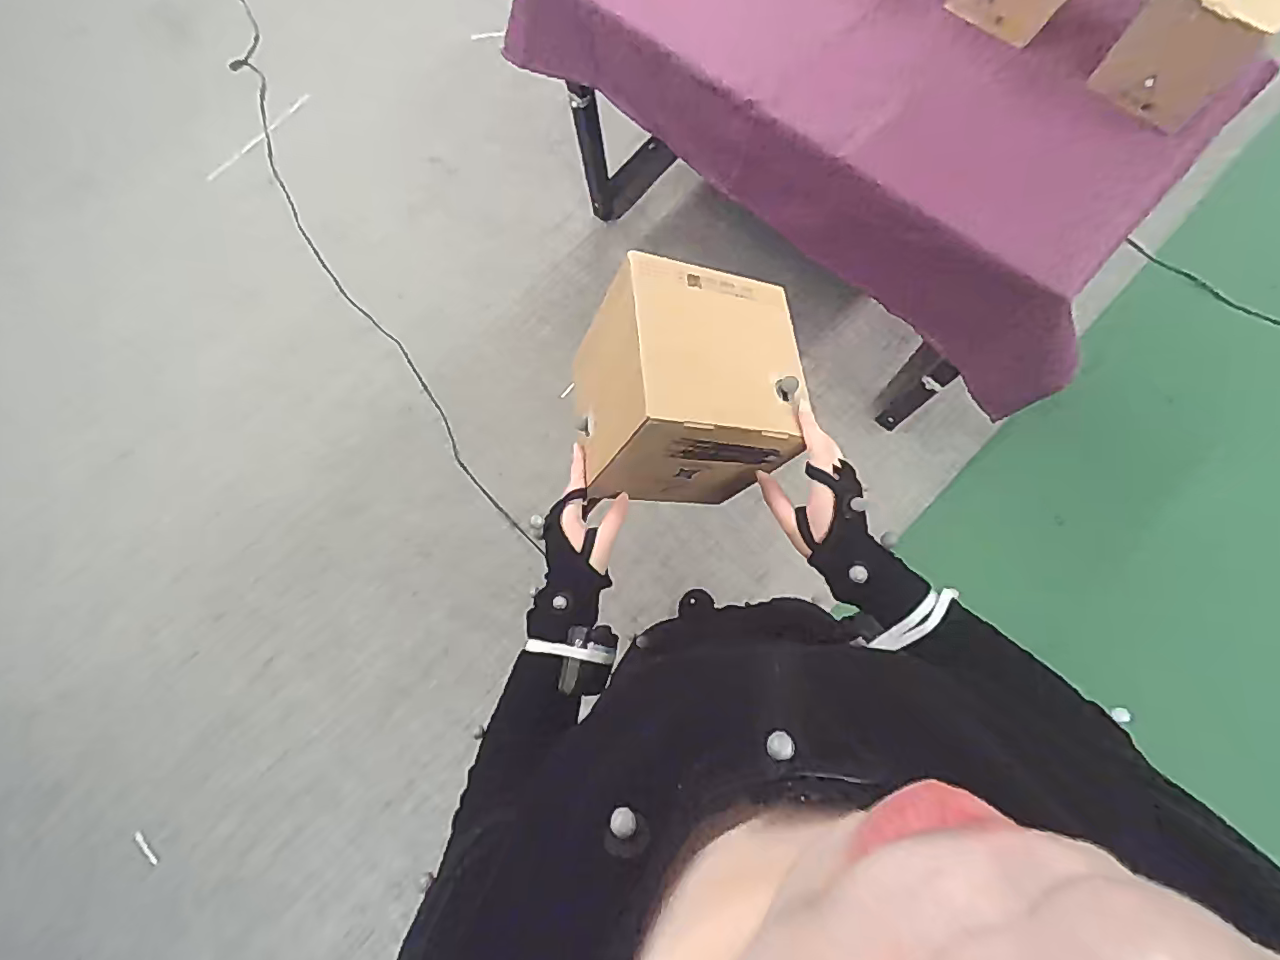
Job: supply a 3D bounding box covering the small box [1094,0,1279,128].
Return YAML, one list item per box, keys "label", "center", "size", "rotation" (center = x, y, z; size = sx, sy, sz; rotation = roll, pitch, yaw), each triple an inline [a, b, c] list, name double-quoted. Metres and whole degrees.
- label: "small box"
  center: [0.876, -0.708, 0.841]
  size: [0.168, 0.176, 0.179]
  rotation: [43, 87, 13]

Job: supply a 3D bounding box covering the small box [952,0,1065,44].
- label: "small box"
  center: [0.669, -0.900, 0.905]
  size: [0.168, 0.176, 0.179]
  rotation: [41, 84, 12]
